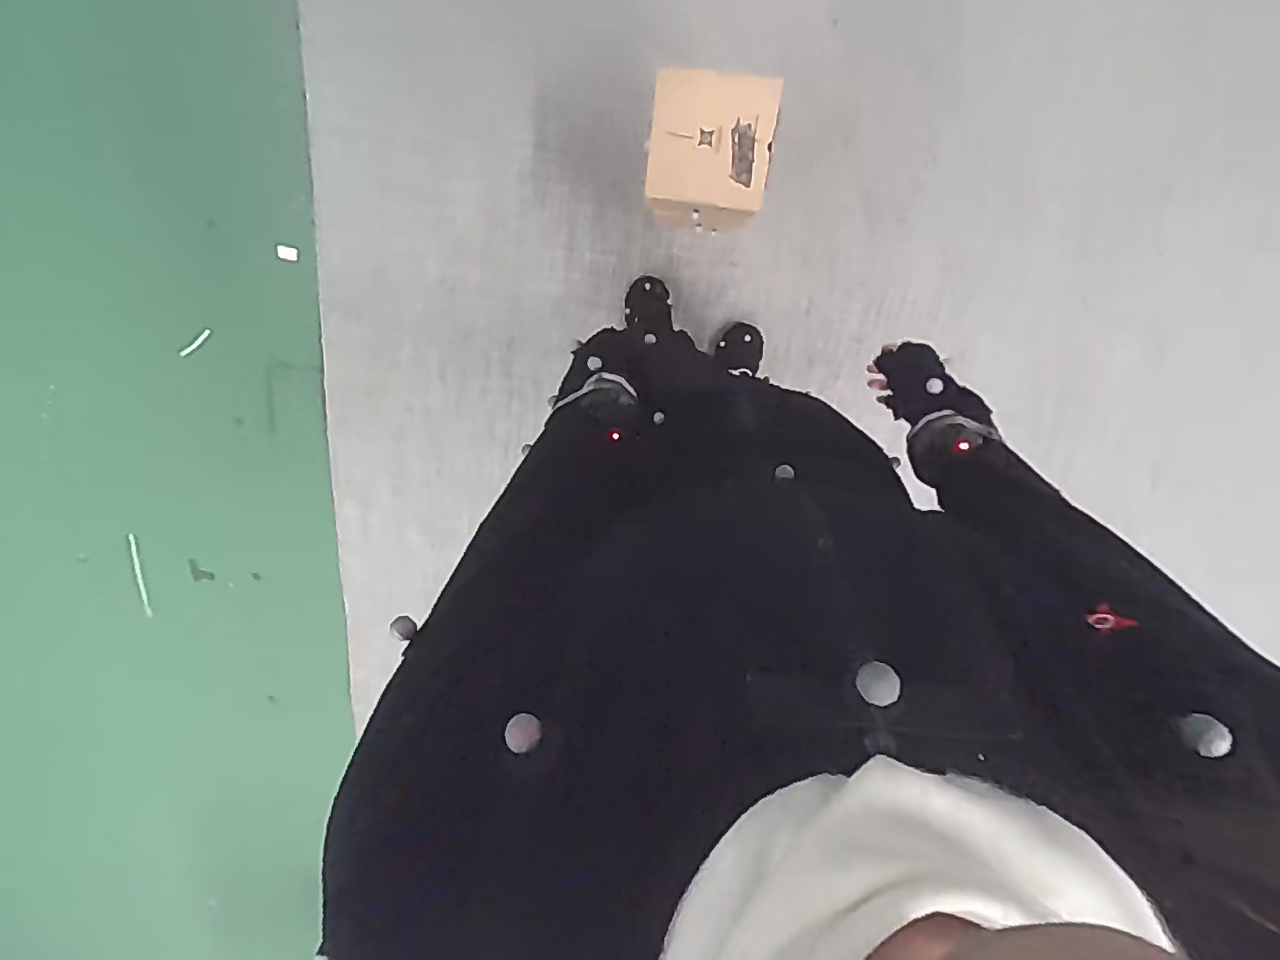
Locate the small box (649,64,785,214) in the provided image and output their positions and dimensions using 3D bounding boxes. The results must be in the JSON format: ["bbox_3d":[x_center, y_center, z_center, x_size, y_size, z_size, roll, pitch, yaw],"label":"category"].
[{"bbox_3d":[0.109,-0.514,0.838,0.179,0.176,0.168,5,112,1],"label":"small box"}]

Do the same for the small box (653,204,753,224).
[{"bbox_3d":[0.123,-0.572,0.991,0.179,0.176,0.168,8,112,1],"label":"small box"}]
